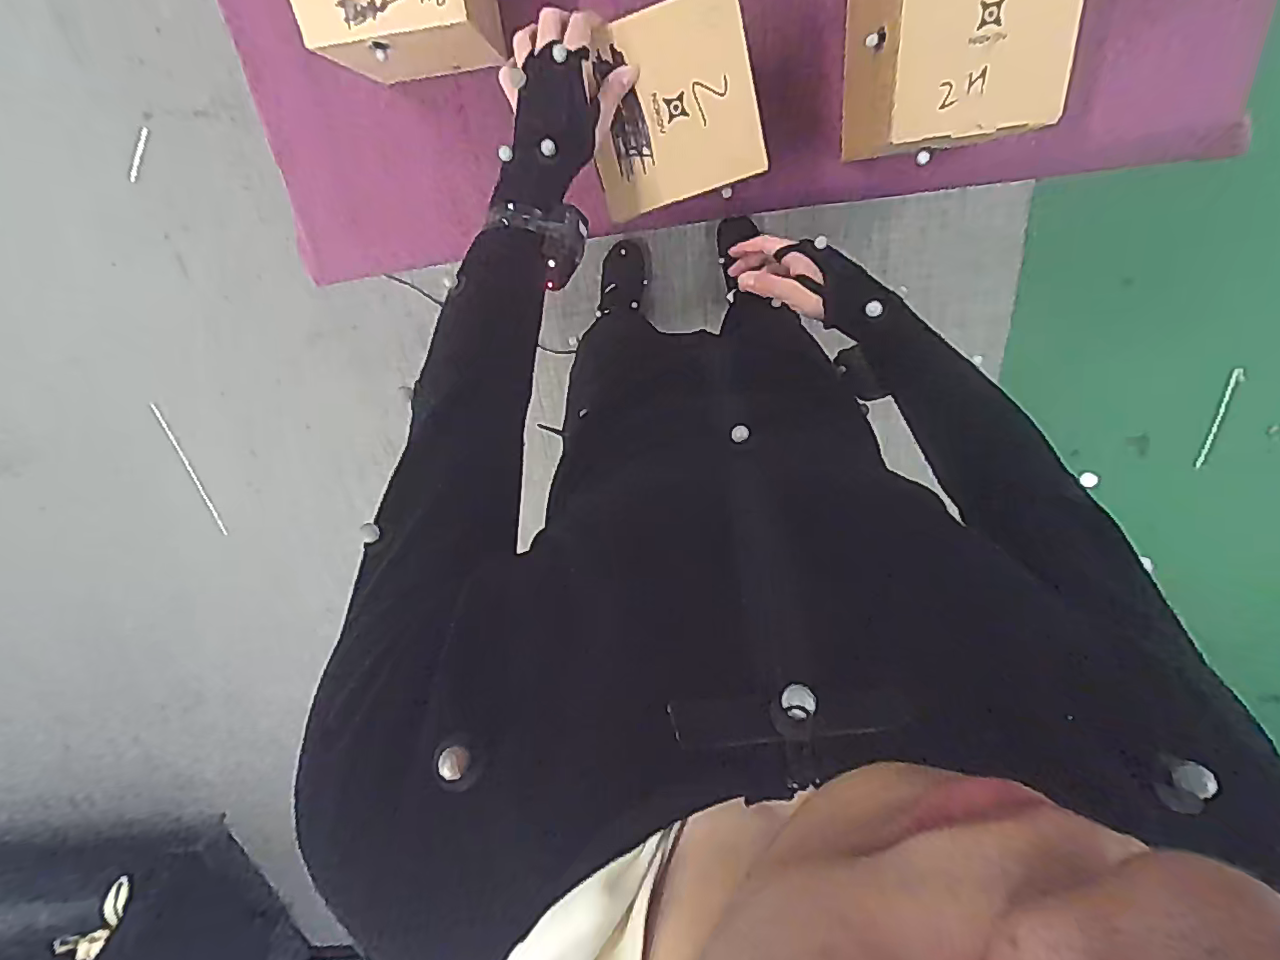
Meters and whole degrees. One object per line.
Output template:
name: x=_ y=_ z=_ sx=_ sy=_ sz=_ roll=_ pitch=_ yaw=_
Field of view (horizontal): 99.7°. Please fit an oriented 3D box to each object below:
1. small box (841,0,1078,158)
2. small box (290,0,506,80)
small box: x=0.325 y=-0.463 z=0.578 sx=0.168 sy=0.176 sz=0.179 roll=-5 pitch=115 yaw=5
small box: x=-0.252 y=-0.544 z=0.553 sx=0.168 sy=0.176 sz=0.179 roll=-5 pitch=116 yaw=5
